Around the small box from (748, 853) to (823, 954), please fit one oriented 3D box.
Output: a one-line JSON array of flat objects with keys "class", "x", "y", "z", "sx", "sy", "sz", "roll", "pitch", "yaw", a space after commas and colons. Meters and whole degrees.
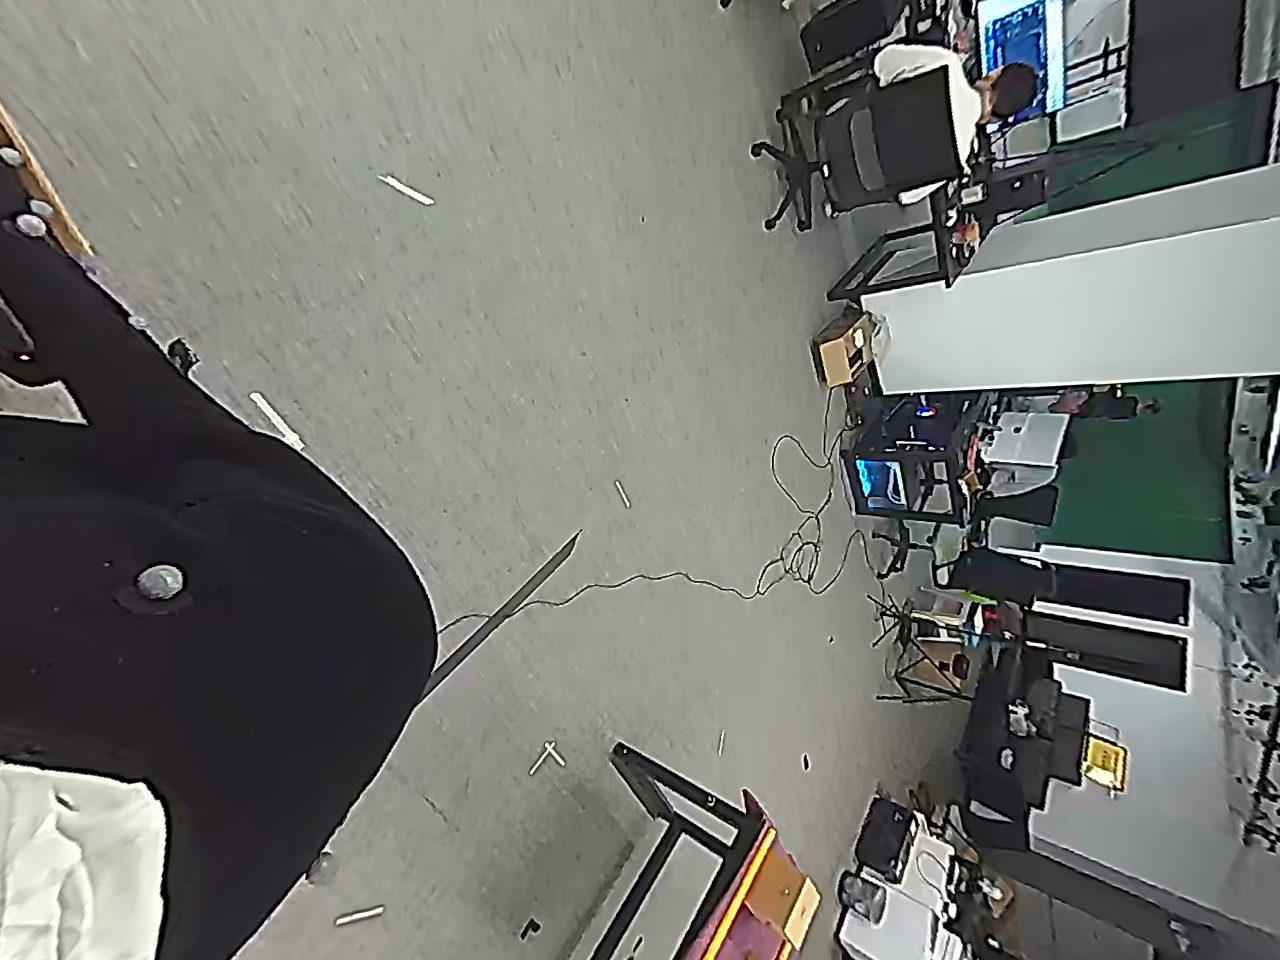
[{"class": "small box", "x": 0.480, "y": 1.408, "z": 1.805, "sx": 0.179, "sy": 0.176, "sz": 0.168, "roll": -46, "pitch": 123, "yaw": -31}]
